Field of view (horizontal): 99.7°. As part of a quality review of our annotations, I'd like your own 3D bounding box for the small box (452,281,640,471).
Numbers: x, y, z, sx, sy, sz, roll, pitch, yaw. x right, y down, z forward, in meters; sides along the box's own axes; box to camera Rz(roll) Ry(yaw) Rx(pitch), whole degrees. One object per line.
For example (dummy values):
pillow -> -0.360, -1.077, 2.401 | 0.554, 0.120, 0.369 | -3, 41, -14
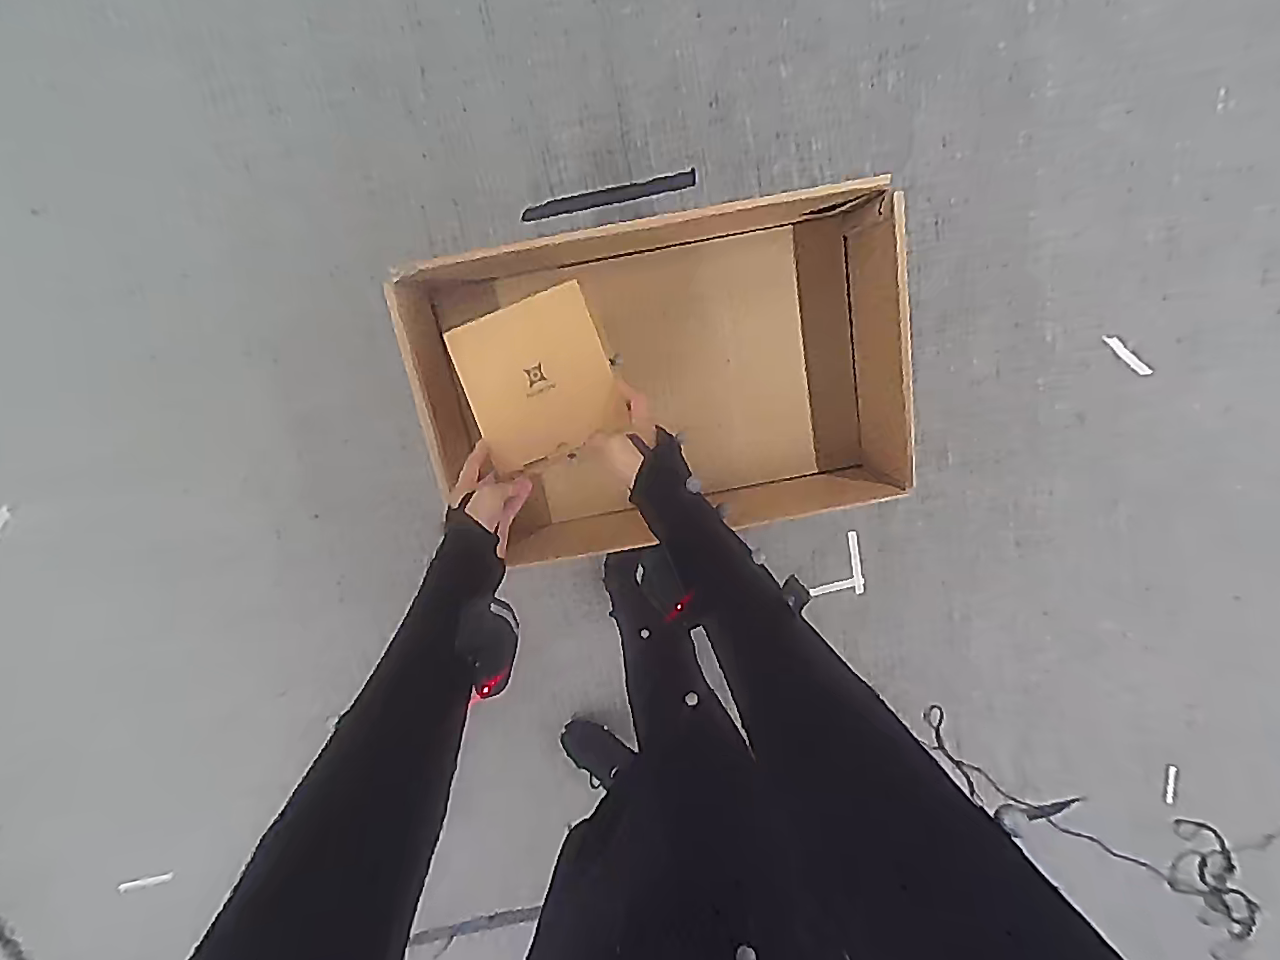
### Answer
small box -> -0.107, -0.119, 0.691 | 0.168, 0.176, 0.179 | -21, 91, 4
